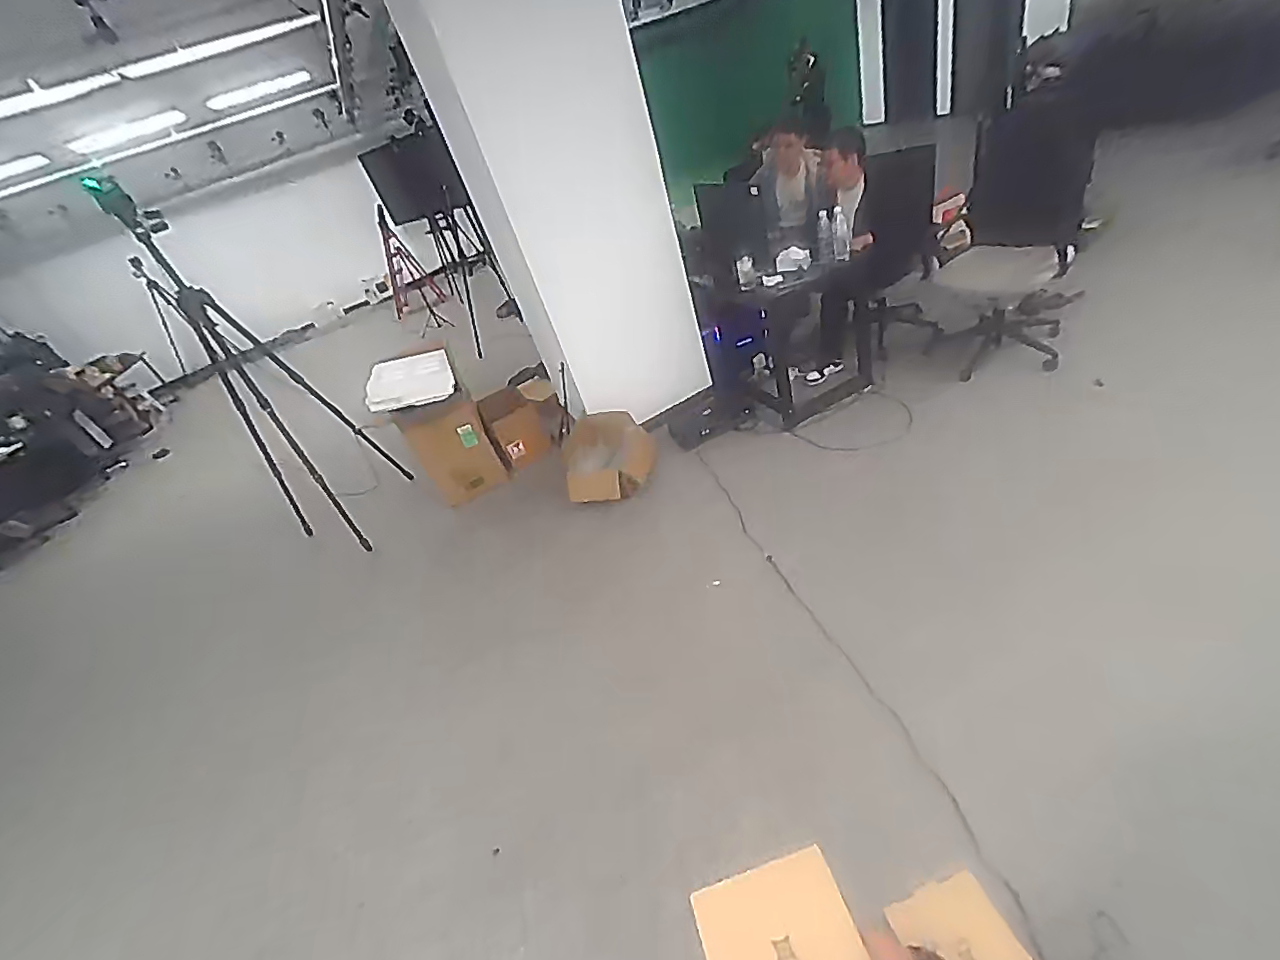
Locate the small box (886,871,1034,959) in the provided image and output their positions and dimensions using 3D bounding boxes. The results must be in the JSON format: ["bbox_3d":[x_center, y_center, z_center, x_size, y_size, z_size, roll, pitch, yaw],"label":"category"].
[{"bbox_3d":[0.526,0.791,0.875,0.168,0.176,0.179,-23,33,-3],"label":"small box"}]

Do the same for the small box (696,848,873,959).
[{"bbox_3d":[0.177,0.571,0.619,0.168,0.176,0.179,-19,38,-3],"label":"small box"}]
